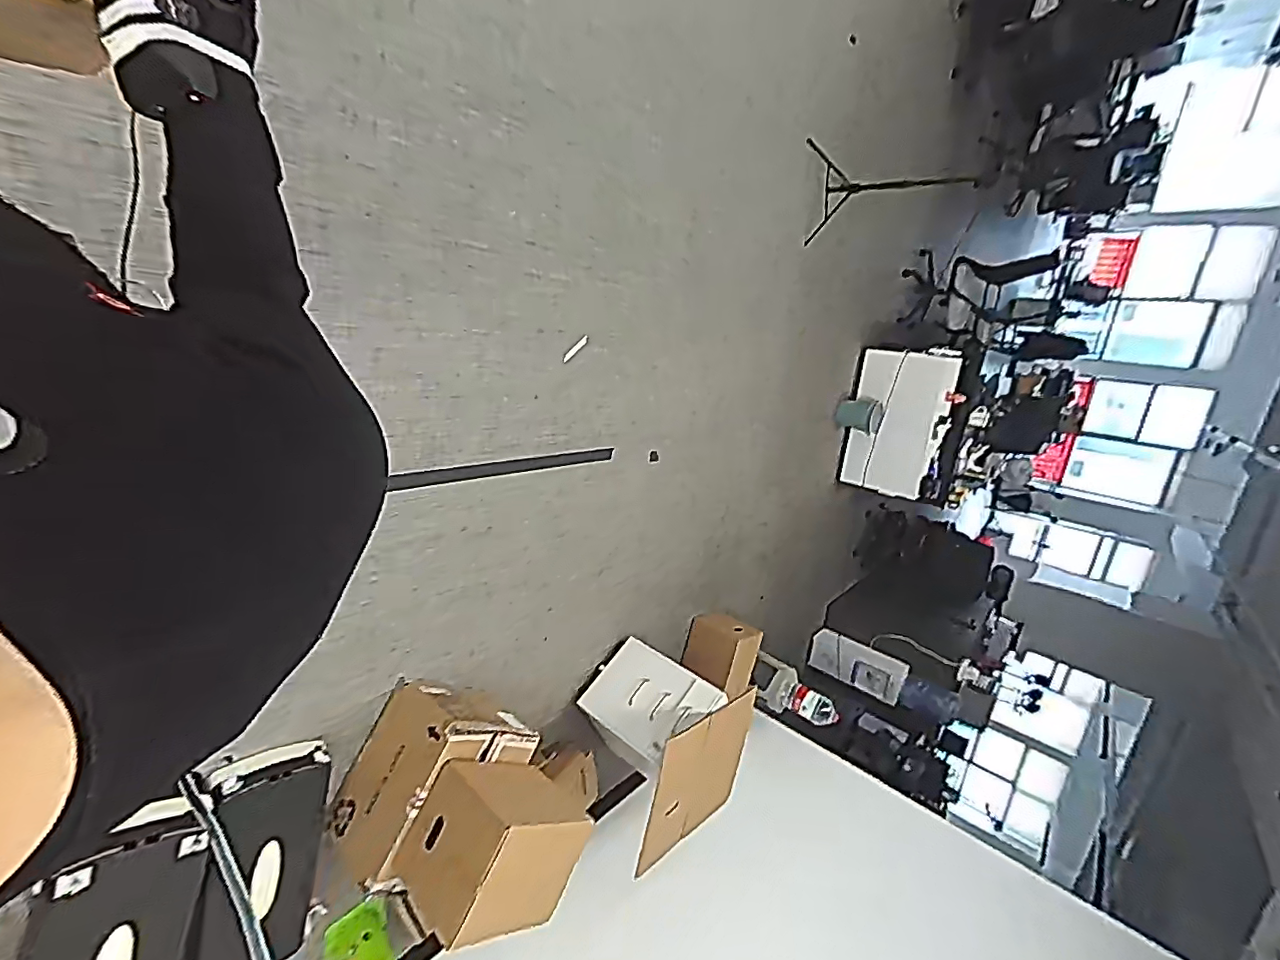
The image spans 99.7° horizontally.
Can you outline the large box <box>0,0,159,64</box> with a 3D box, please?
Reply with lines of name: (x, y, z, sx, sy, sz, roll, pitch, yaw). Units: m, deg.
large box: (-0.575, -0.466, 0.272, 0.408, 0.320, 0.320, -21, 126, -46)
